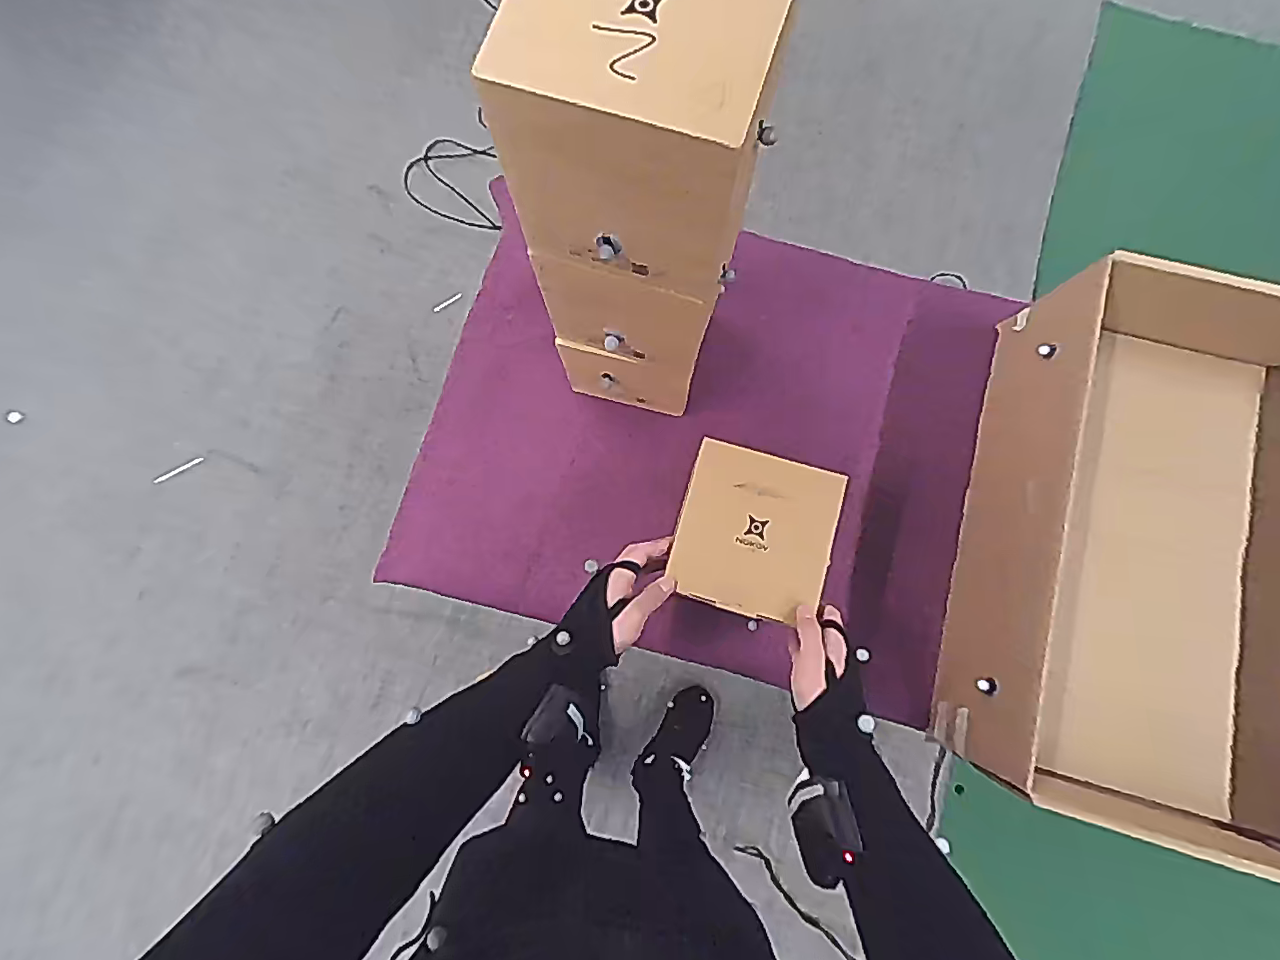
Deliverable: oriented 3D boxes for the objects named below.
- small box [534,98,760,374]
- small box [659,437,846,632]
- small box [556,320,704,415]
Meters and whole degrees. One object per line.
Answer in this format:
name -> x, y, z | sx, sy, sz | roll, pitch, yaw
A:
small box -> 0.008, -0.239, 0.566 | 0.168, 0.176, 0.179 | 19, 79, 5
small box -> 0.126, 0.071, 0.661 | 0.168, 0.176, 0.179 | 16, 78, 5
small box -> 0.002, -0.205, 0.727 | 0.168, 0.176, 0.179 | 14, 78, 4
